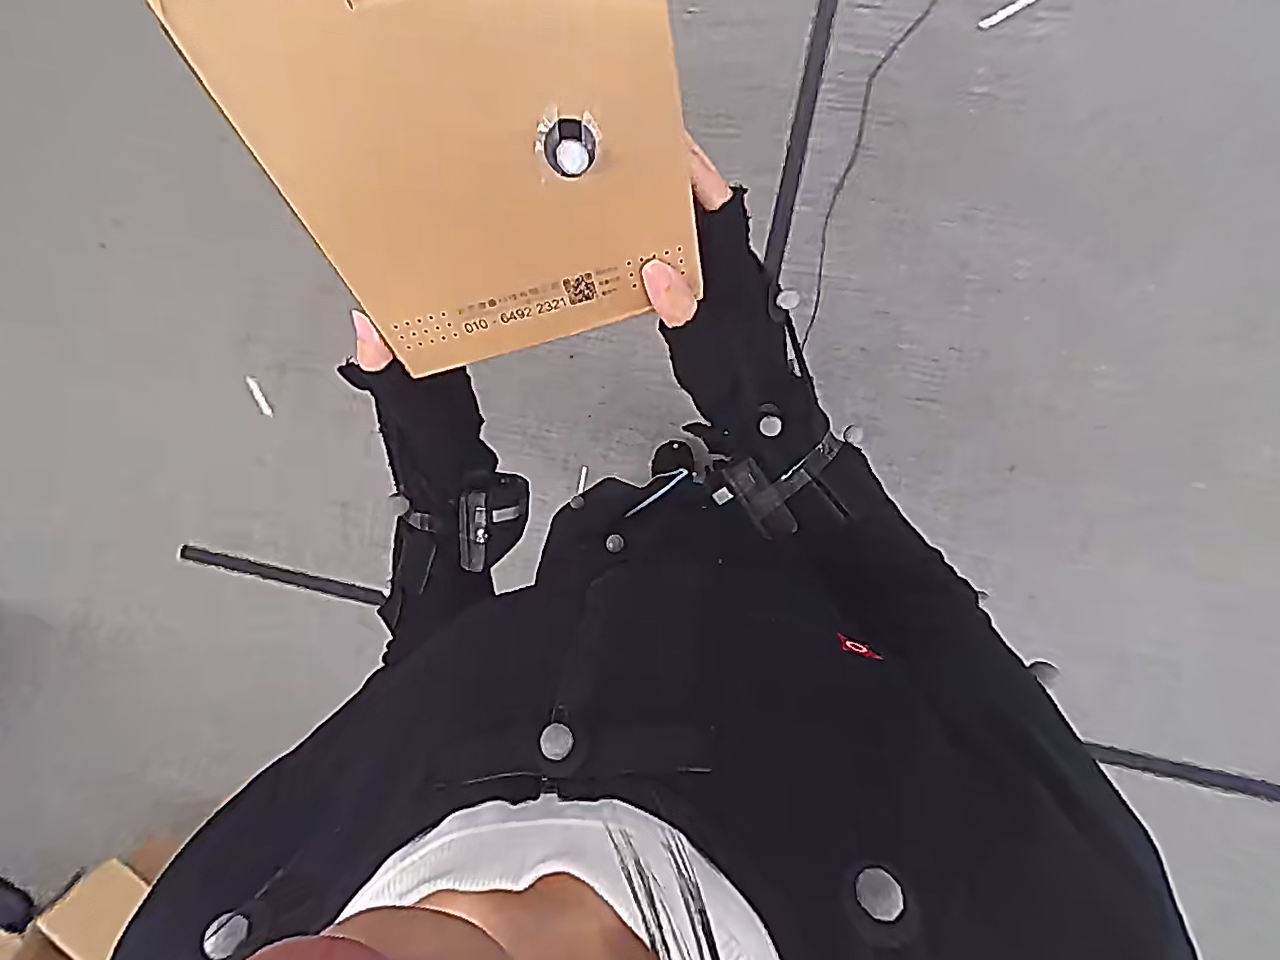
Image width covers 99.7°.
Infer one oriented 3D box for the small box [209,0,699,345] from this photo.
[{"bbox_3d":[-0.069,-0.194,0.298,0.168,0.176,0.179,-13,51,4],"label":"small box"}]
